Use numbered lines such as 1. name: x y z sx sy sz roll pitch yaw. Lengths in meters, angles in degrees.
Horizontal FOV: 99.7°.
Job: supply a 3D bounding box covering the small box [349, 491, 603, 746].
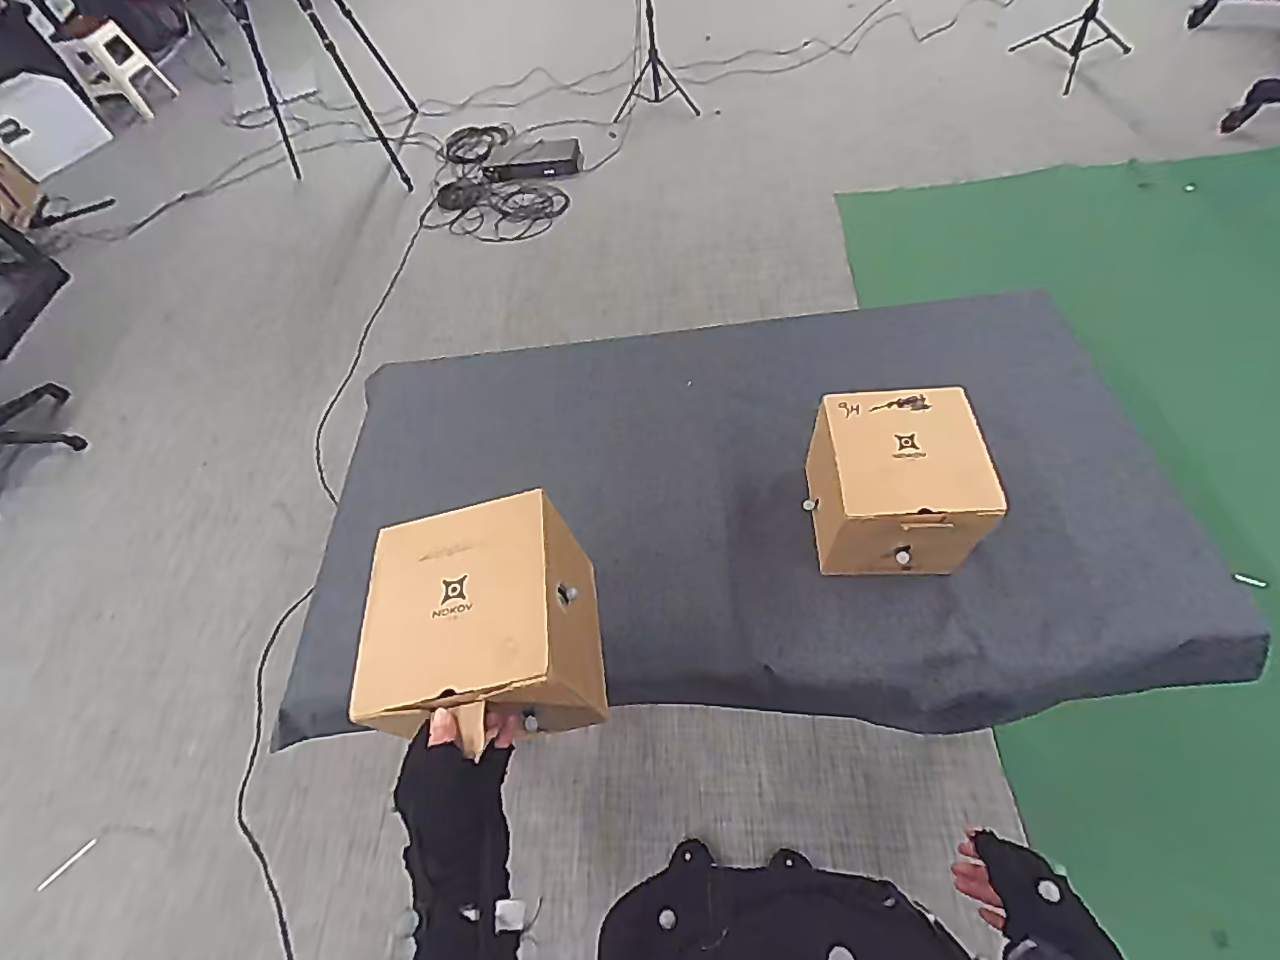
1. small box: -0.139 0.142 0.517 0.168 0.176 0.179 -14 53 4
